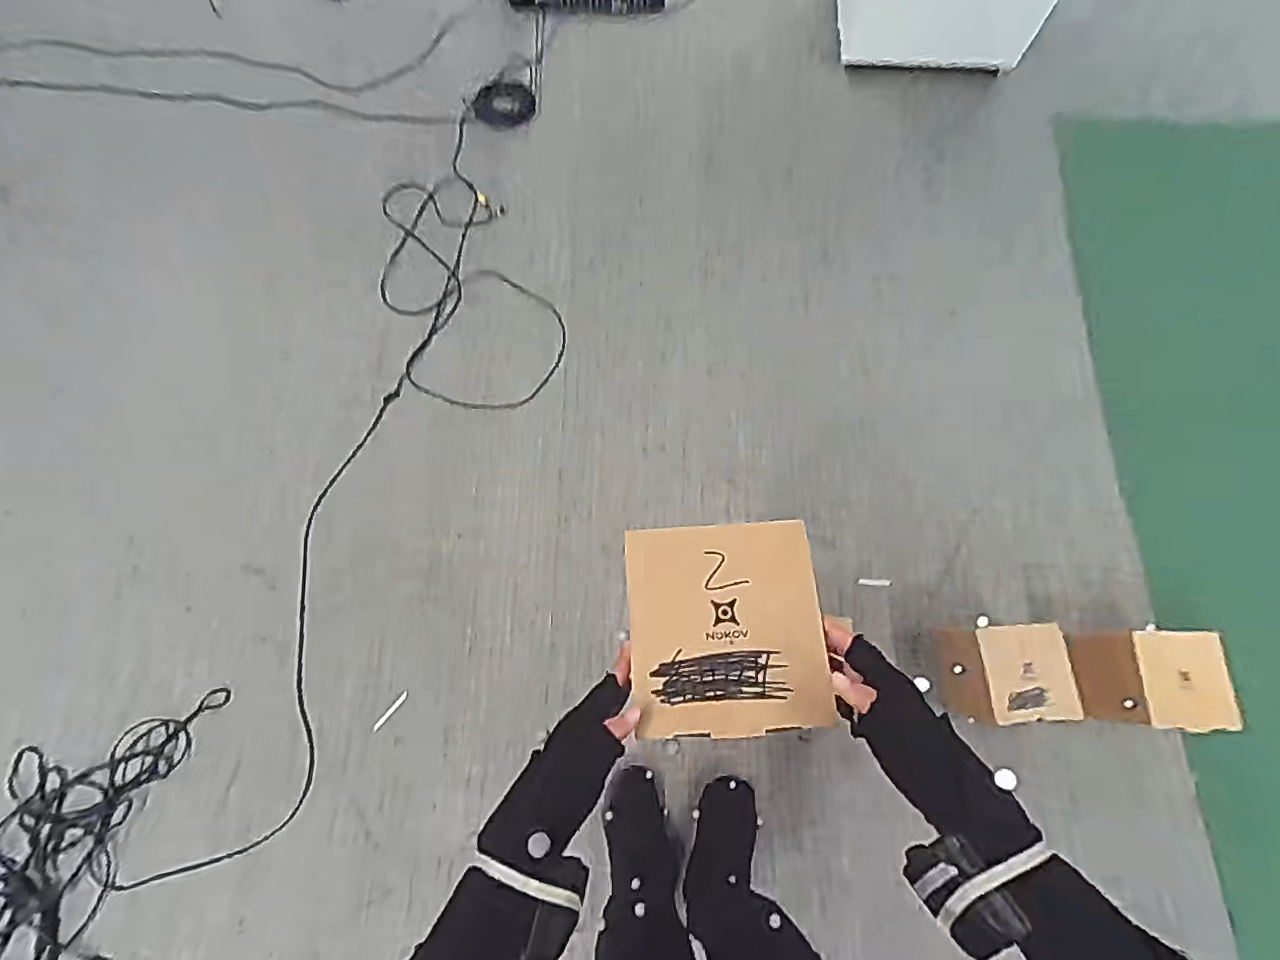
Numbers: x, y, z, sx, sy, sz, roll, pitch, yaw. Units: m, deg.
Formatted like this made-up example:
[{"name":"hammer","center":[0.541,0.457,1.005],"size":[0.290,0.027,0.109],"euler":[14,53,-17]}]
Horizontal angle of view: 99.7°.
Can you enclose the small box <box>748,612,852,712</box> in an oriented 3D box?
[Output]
[{"name":"small box","center":[0.316,0.366,1.101],"size":[0.168,0.176,0.179],"euler":[2,74,1]}]

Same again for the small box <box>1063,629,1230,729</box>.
[{"name":"small box","center":[1.010,0.399,1.099],"size":[0.168,0.176,0.179],"euler":[1,74,1]}]

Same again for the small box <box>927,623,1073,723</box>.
[{"name":"small box","center":[0.718,0.386,1.100],"size":[0.168,0.176,0.179],"euler":[-3,72,-1]}]
